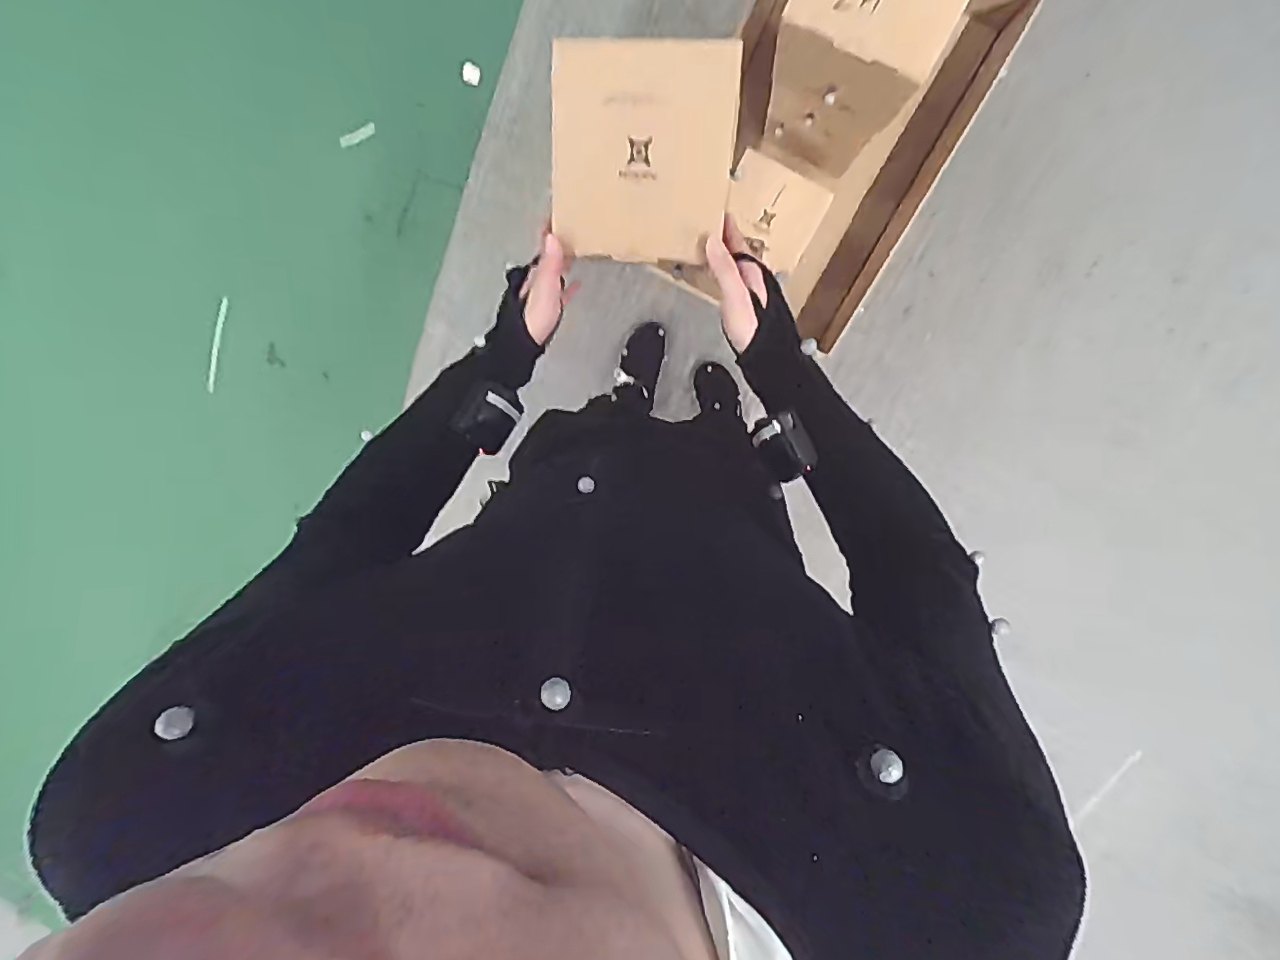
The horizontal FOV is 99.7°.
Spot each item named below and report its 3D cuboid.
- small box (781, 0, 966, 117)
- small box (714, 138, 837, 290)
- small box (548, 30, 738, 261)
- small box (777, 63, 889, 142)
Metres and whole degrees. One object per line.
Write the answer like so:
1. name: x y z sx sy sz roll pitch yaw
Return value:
1. small box: 0.267 -0.545 0.591 0.168 0.176 0.179 26 111 2
2. small box: 0.220 -0.457 0.965 0.168 0.176 0.179 29 107 0
3. small box: 0.010 -0.324 0.557 0.168 0.176 0.179 6 111 7
4. small box: 0.301 -0.607 0.741 0.168 0.176 0.179 28 111 0
